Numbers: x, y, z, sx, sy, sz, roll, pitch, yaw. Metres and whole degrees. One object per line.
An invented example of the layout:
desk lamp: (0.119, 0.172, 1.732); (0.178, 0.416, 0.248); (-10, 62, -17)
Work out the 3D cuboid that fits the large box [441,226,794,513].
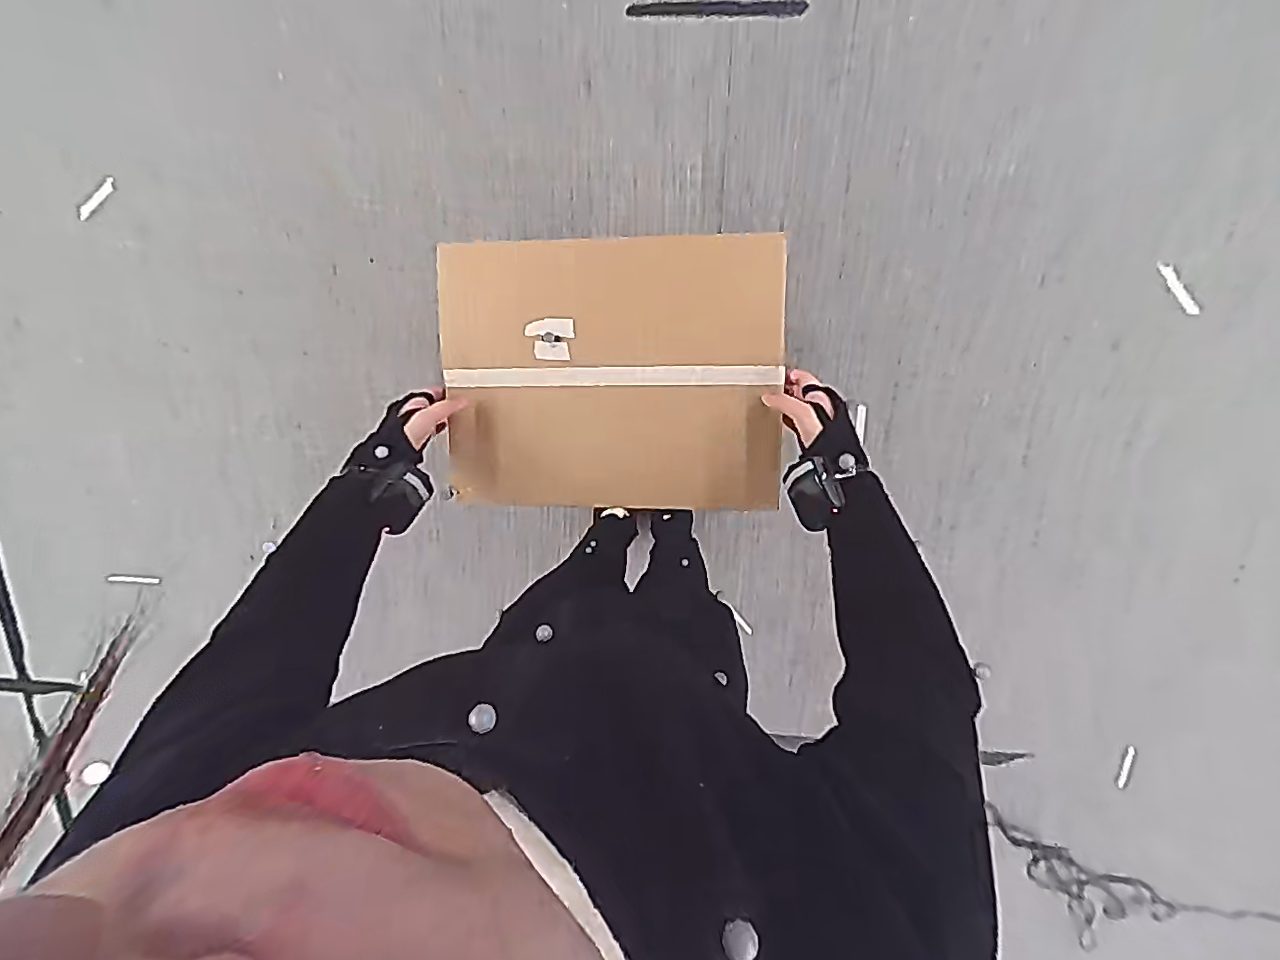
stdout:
large box: (-0.009, -0.140, 0.762); (0.408, 0.320, 0.320); (1, 98, 8)
